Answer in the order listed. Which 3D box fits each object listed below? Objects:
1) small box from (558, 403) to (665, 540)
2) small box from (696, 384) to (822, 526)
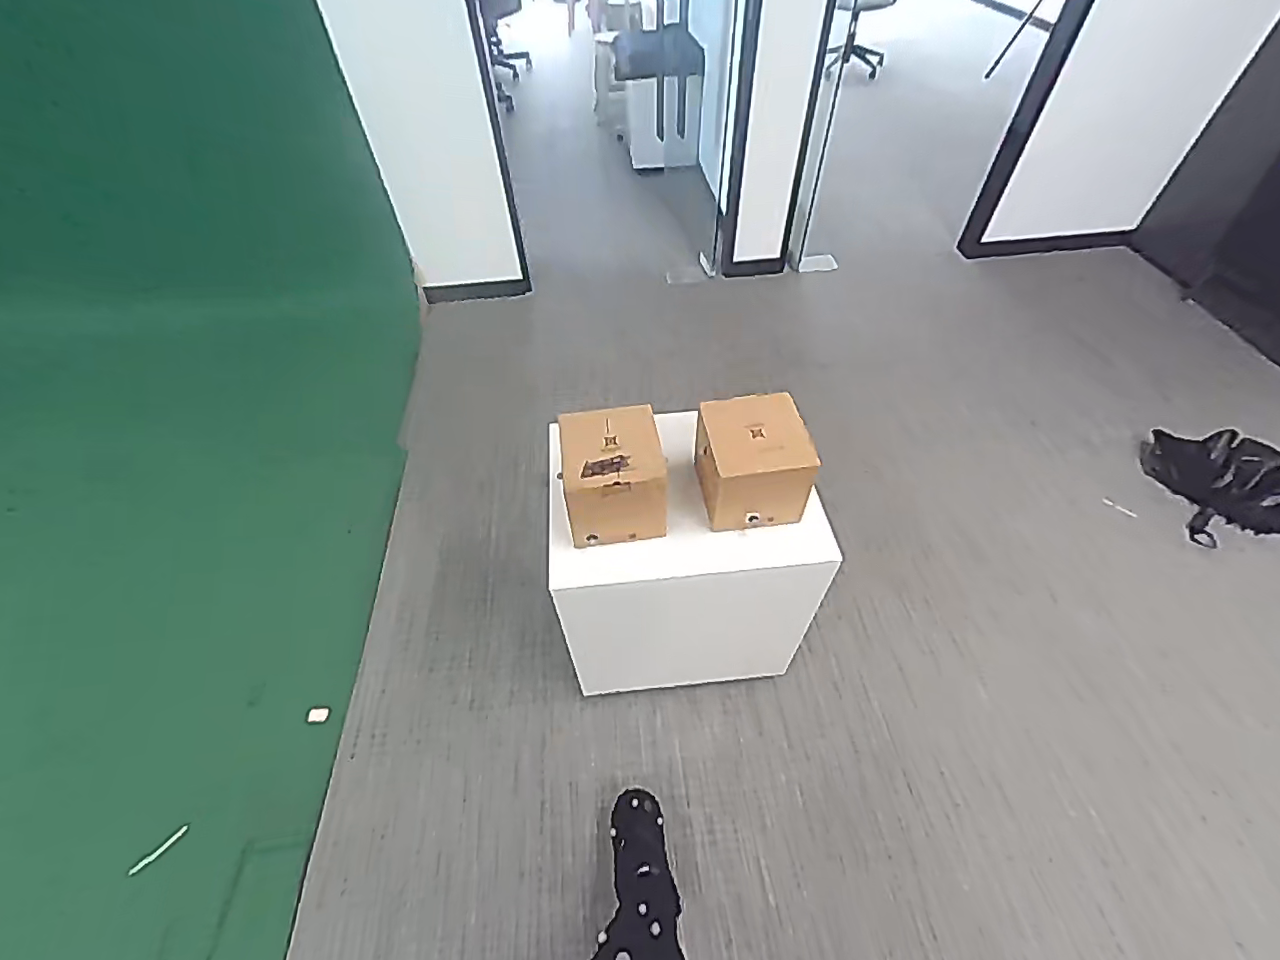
[{"bbox_3d":[-0.048,-0.008,0.956,0.168,0.176,0.179,-7,50,-4],"label":"small box"},{"bbox_3d":[0.197,-0.042,0.956,0.168,0.176,0.179,-8,53,-3],"label":"small box"}]
